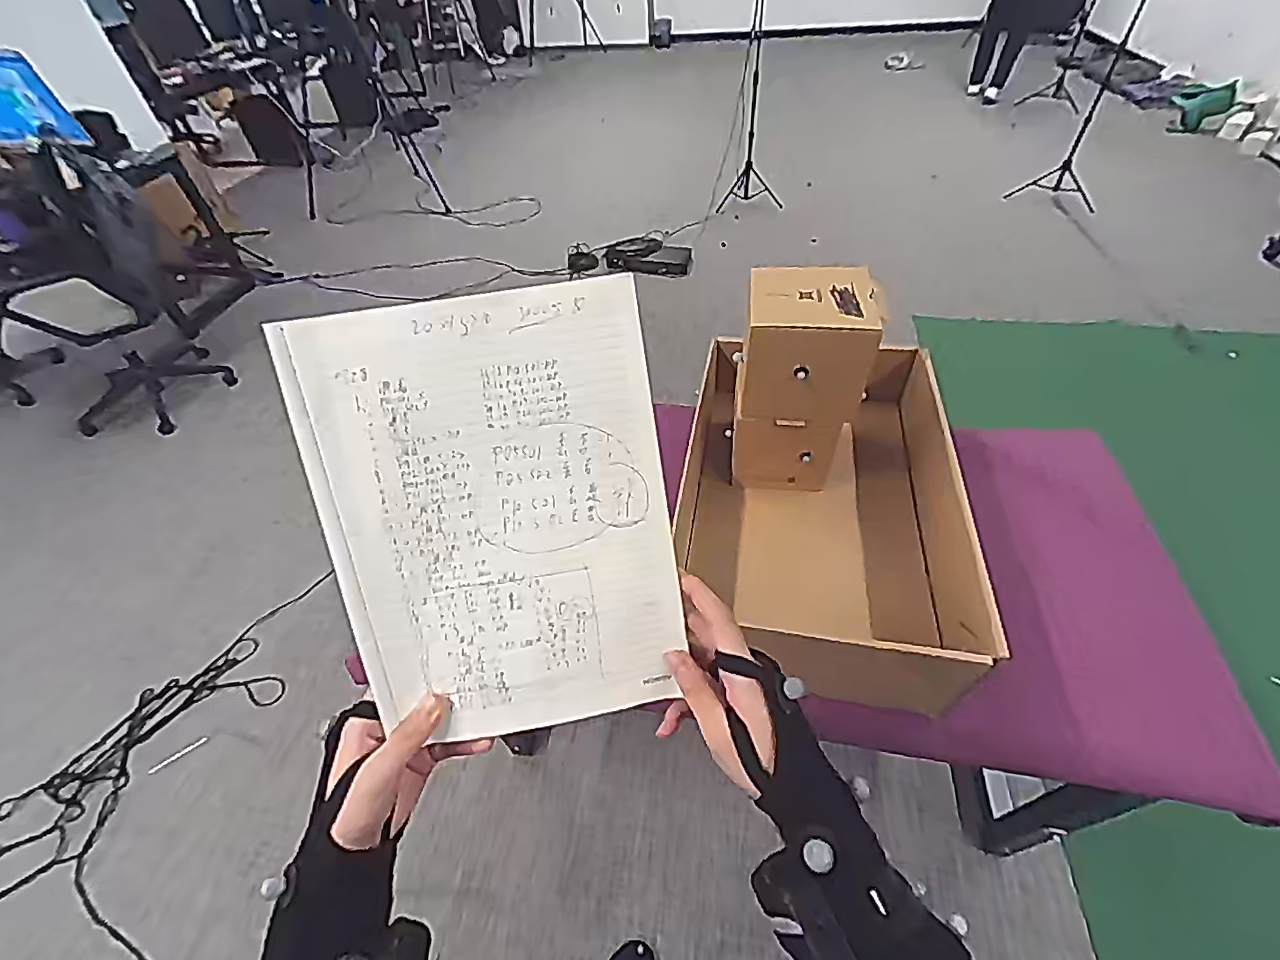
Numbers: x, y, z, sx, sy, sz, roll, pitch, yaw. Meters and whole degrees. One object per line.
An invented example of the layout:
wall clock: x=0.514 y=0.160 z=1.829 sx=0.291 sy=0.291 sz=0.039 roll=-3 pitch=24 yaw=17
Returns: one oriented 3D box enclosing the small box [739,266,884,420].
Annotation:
small box: x=0.251 y=-0.208 z=0.831 sx=0.179 sy=0.176 sz=0.168 roll=4 pitch=49 yaw=8
